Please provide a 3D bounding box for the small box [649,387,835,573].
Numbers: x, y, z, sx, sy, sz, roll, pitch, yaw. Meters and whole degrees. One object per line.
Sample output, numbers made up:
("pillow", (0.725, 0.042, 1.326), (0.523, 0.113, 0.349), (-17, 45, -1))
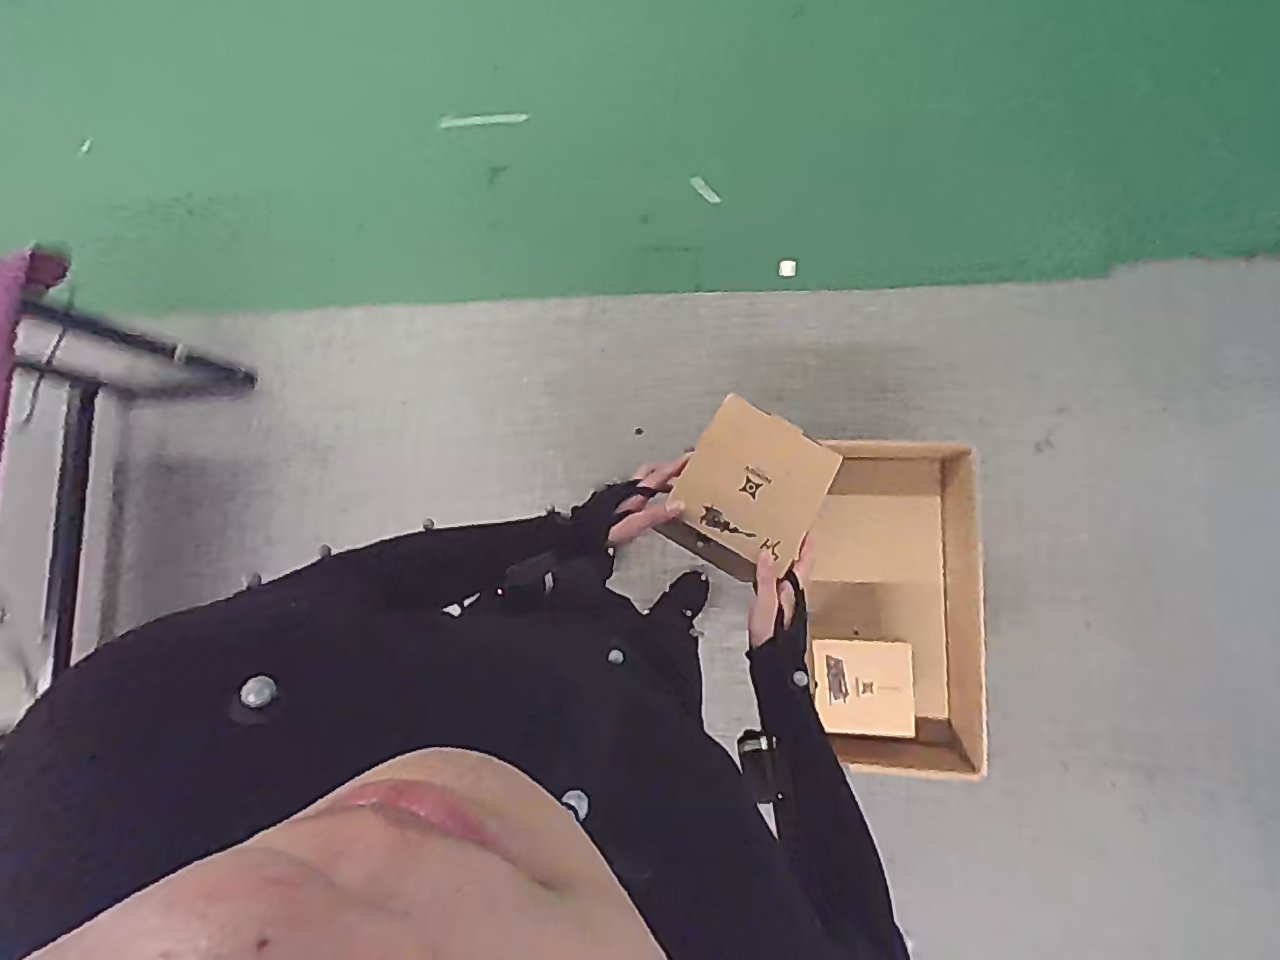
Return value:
("small box", (0.123, 0.011, 0.727), (0.168, 0.176, 0.179), (30, 78, 1))
